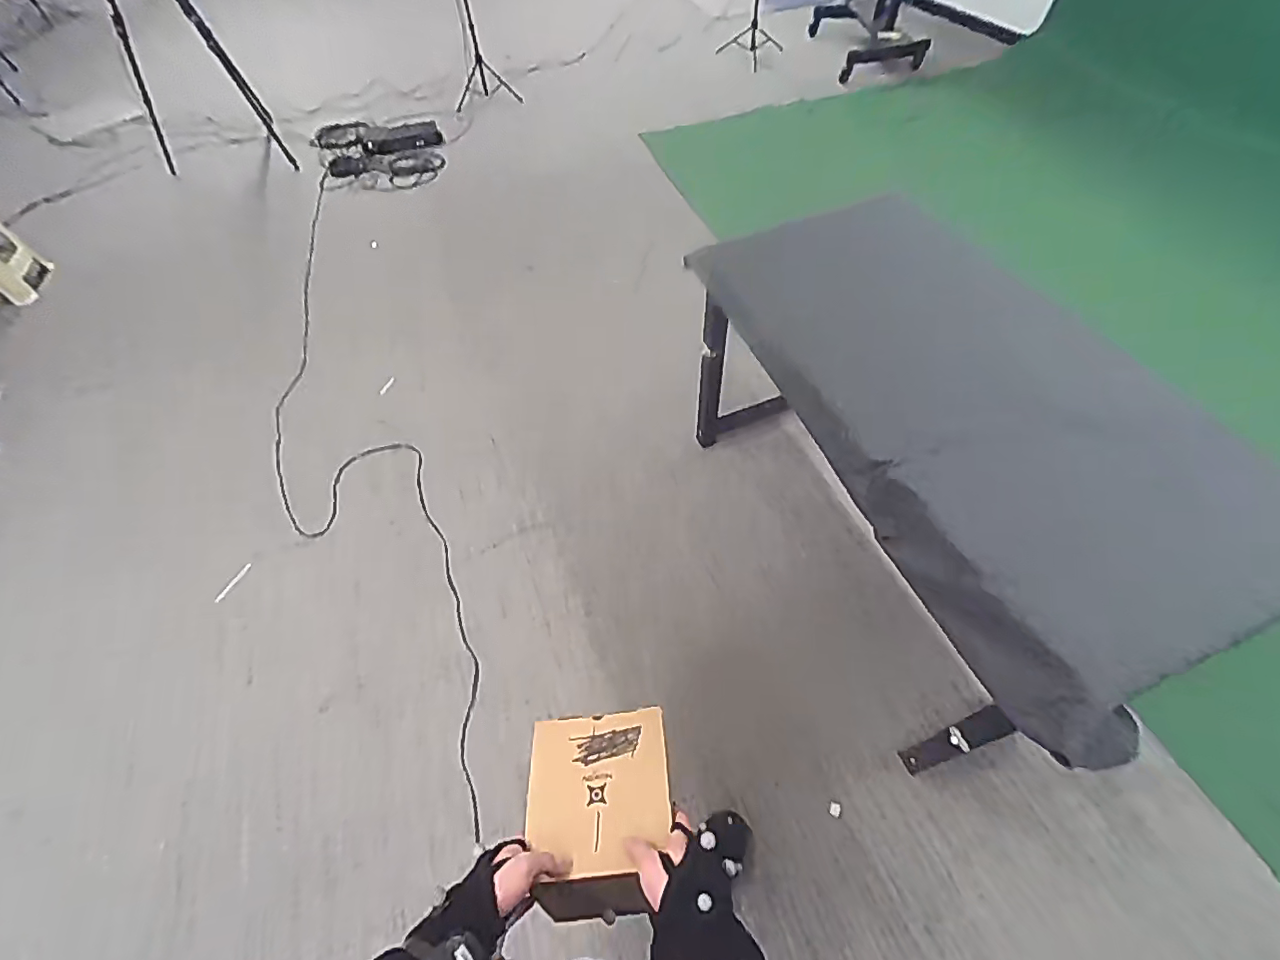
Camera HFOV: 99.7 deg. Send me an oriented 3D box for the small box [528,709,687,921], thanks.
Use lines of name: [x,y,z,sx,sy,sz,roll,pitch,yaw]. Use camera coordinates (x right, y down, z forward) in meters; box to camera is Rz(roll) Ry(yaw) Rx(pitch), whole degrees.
small box: [-0.035,0.420,0.682,0.168,0.176,0.179,-8,41,1]
